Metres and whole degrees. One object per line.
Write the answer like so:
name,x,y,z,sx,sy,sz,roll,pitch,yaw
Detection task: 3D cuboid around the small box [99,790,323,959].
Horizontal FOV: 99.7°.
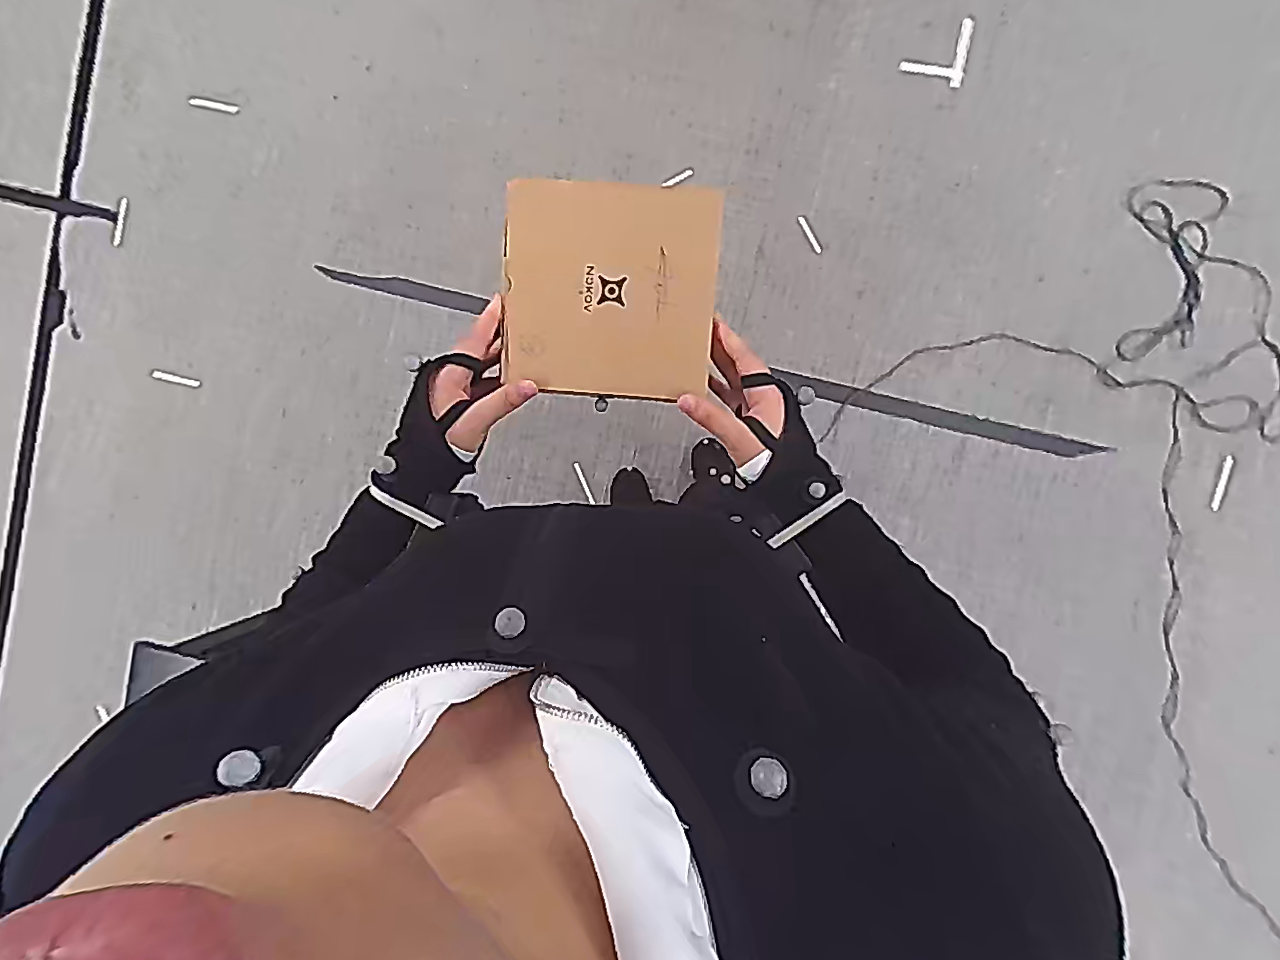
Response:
small box,-0.591,0.579,0.765,0.179,0.176,0.168,15,93,5

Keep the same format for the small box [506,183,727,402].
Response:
small box,-0.017,-0.165,0.526,0.179,0.176,0.168,4,97,3
